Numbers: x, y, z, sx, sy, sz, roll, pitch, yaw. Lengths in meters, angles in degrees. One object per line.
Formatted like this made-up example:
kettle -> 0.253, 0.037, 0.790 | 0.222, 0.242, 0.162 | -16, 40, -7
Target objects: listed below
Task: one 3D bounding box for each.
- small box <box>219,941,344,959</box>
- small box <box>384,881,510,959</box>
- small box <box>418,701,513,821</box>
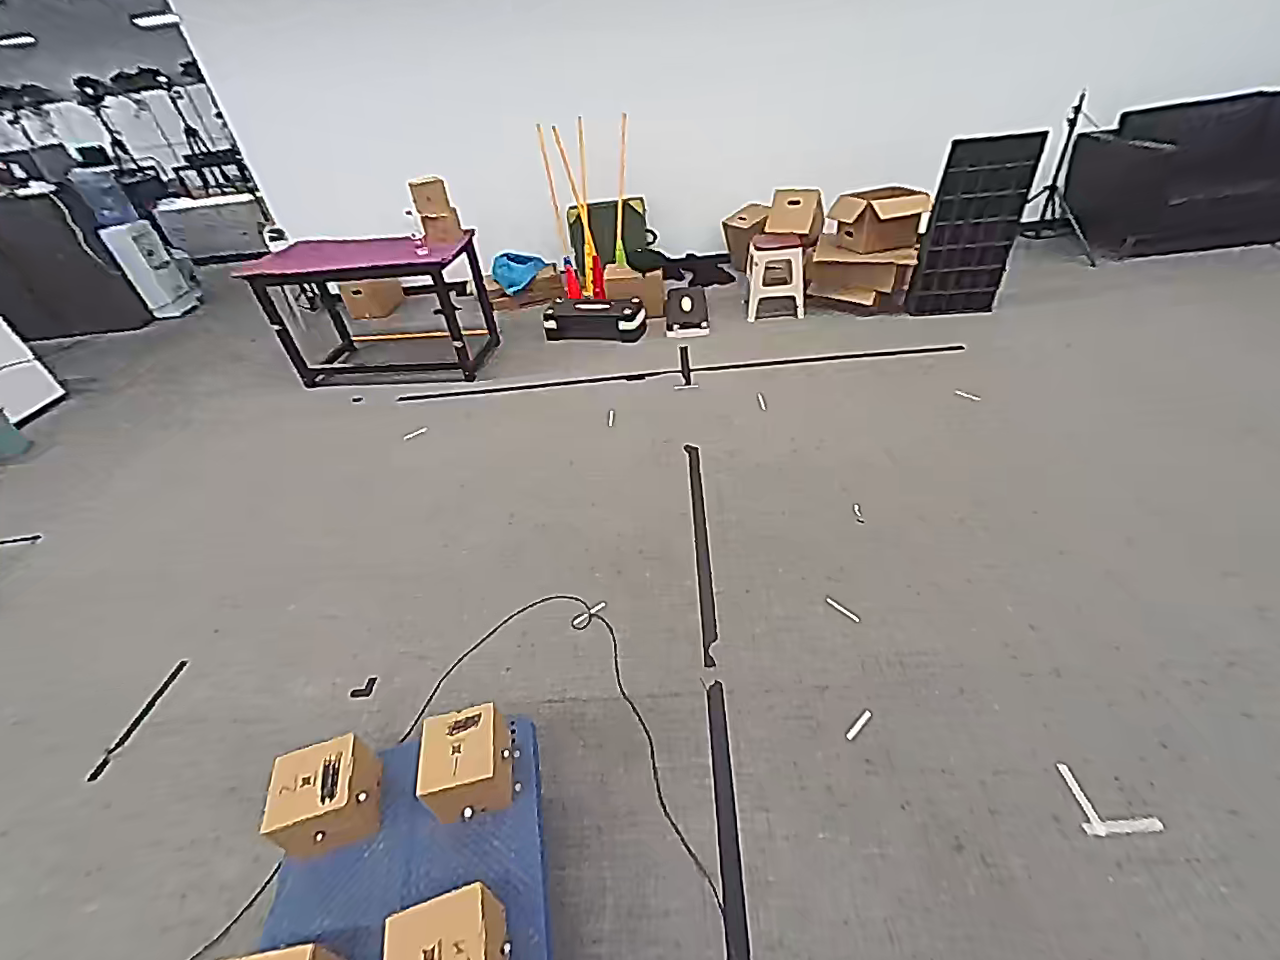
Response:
small box -> -0.640, 0.940, 0.937 | 0.179, 0.176, 0.168 | -8, 38, -4
small box -> -0.342, 0.871, 0.973 | 0.179, 0.176, 0.168 | -15, 39, -9
small box -> -0.396, 0.652, 1.255 | 0.168, 0.176, 0.179 | -12, 40, -5
